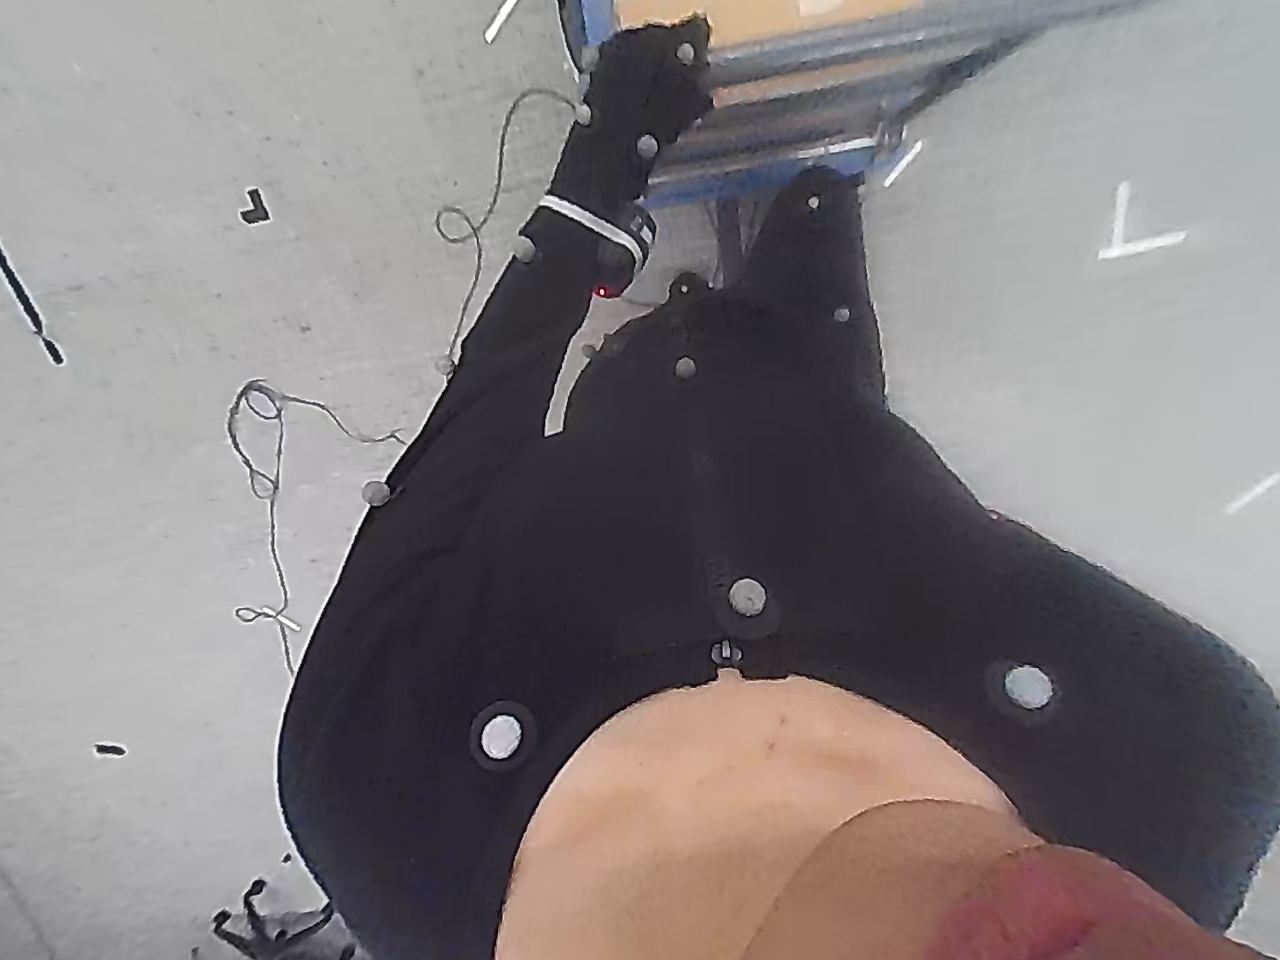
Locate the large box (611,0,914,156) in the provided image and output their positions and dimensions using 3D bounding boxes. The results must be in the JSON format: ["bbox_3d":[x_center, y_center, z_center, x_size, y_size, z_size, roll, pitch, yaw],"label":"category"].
[{"bbox_3d":[0.162,-0.735,0.842,0.408,0.320,0.320,-7,114,5],"label":"large box"}]
